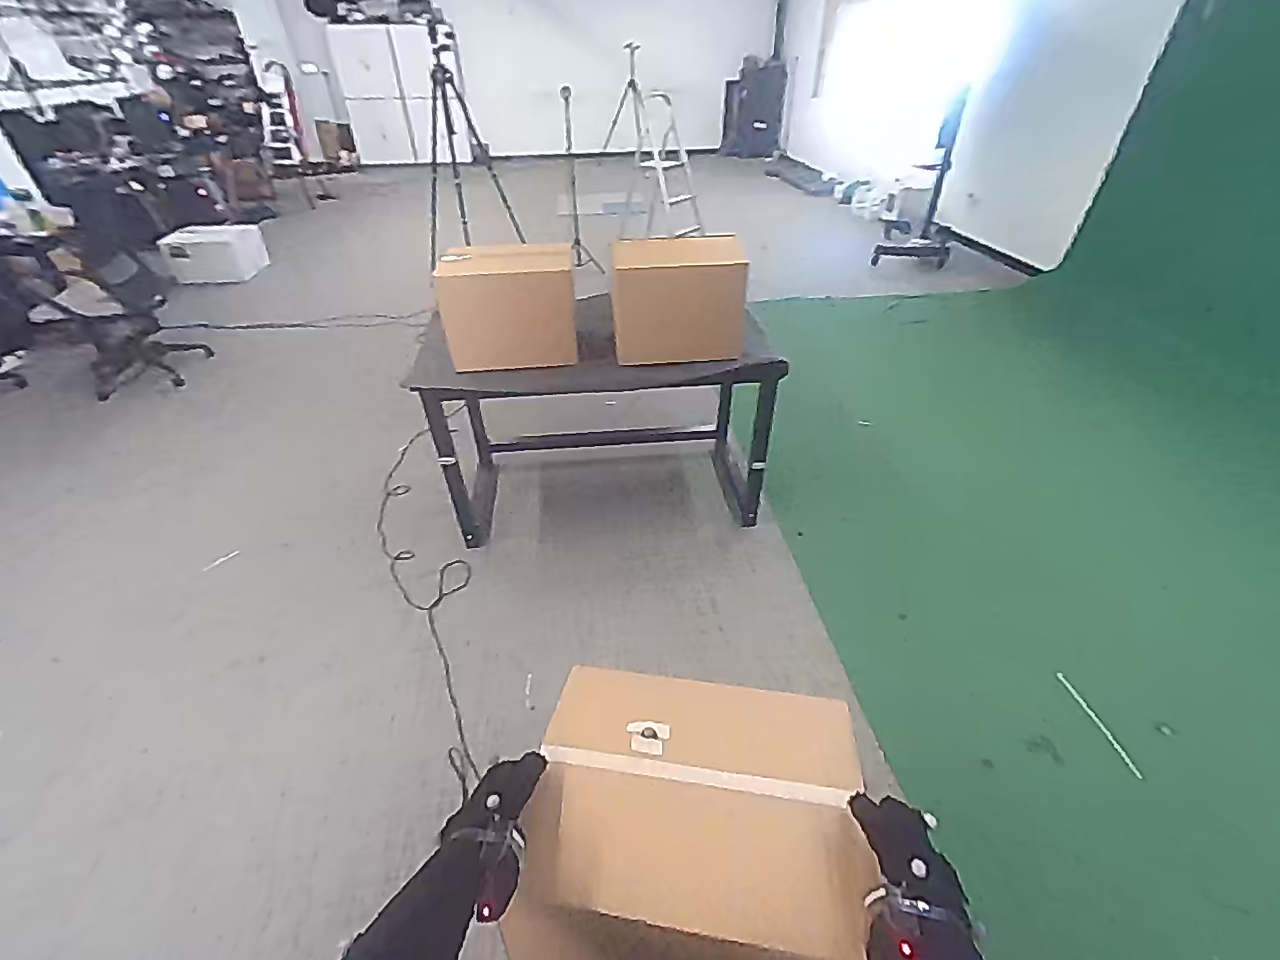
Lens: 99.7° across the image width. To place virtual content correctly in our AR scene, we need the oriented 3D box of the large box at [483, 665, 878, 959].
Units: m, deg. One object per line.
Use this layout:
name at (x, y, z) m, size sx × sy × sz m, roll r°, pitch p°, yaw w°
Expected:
large box at (0.060, 0.496, 0.735) m, size 0.408 × 0.320 × 0.320 m, roll 3°, pitch 28°, yaw 10°
